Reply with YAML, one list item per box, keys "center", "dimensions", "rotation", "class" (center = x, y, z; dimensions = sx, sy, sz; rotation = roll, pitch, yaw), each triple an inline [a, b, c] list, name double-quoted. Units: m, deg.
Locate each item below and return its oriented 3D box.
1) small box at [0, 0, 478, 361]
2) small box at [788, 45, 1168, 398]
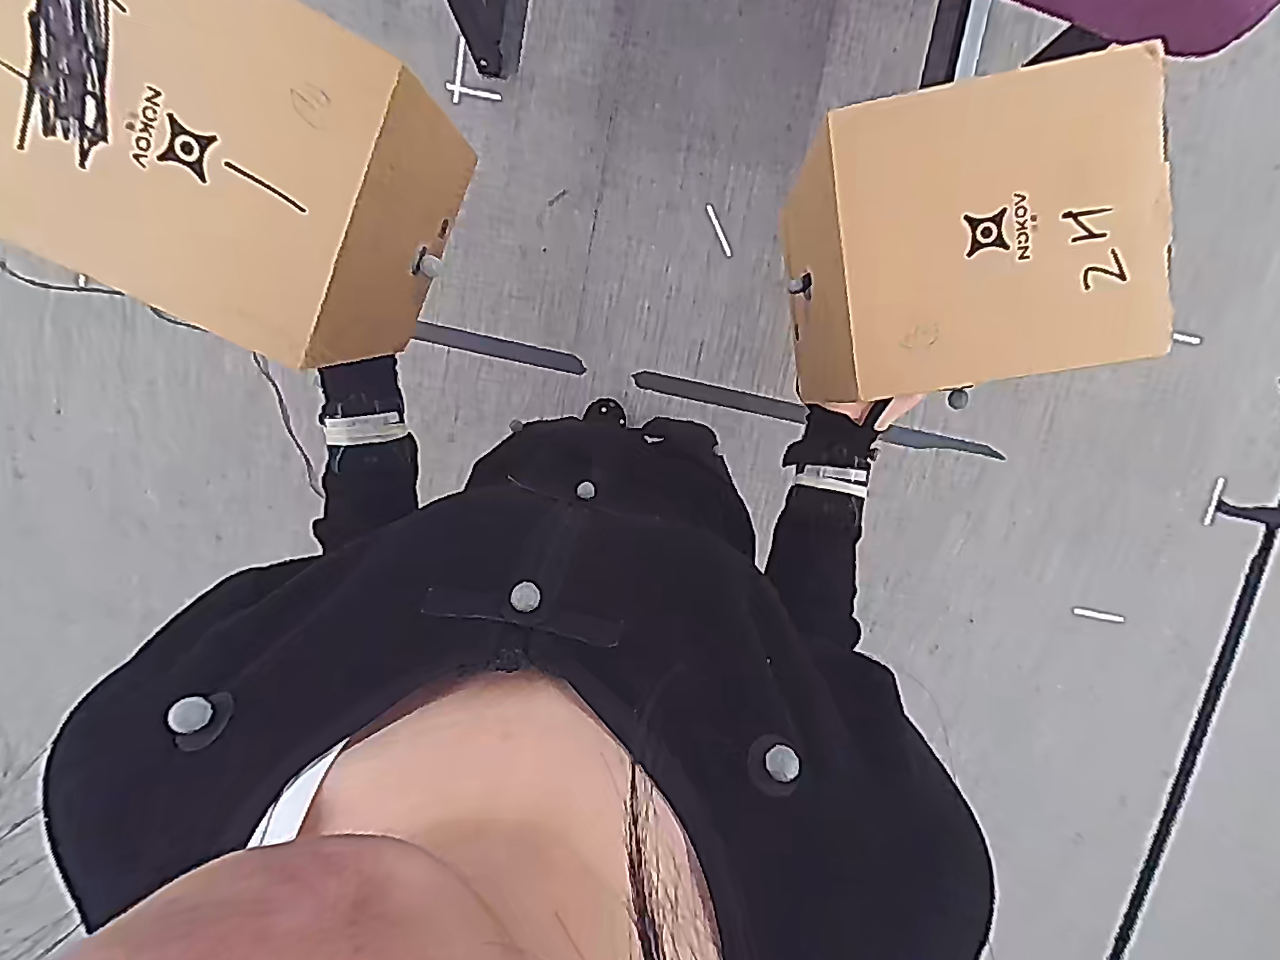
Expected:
- center: [-0.226, -0.190, 0.338]
  dimensions: [0.179, 0.176, 0.168]
  rotation: [25, 104, -12]
  class: "small box"
- center: [0.209, -0.152, 0.384]
  dimensions: [0.179, 0.176, 0.168]
  rotation: [-8, 98, 6]
  class: "small box"
